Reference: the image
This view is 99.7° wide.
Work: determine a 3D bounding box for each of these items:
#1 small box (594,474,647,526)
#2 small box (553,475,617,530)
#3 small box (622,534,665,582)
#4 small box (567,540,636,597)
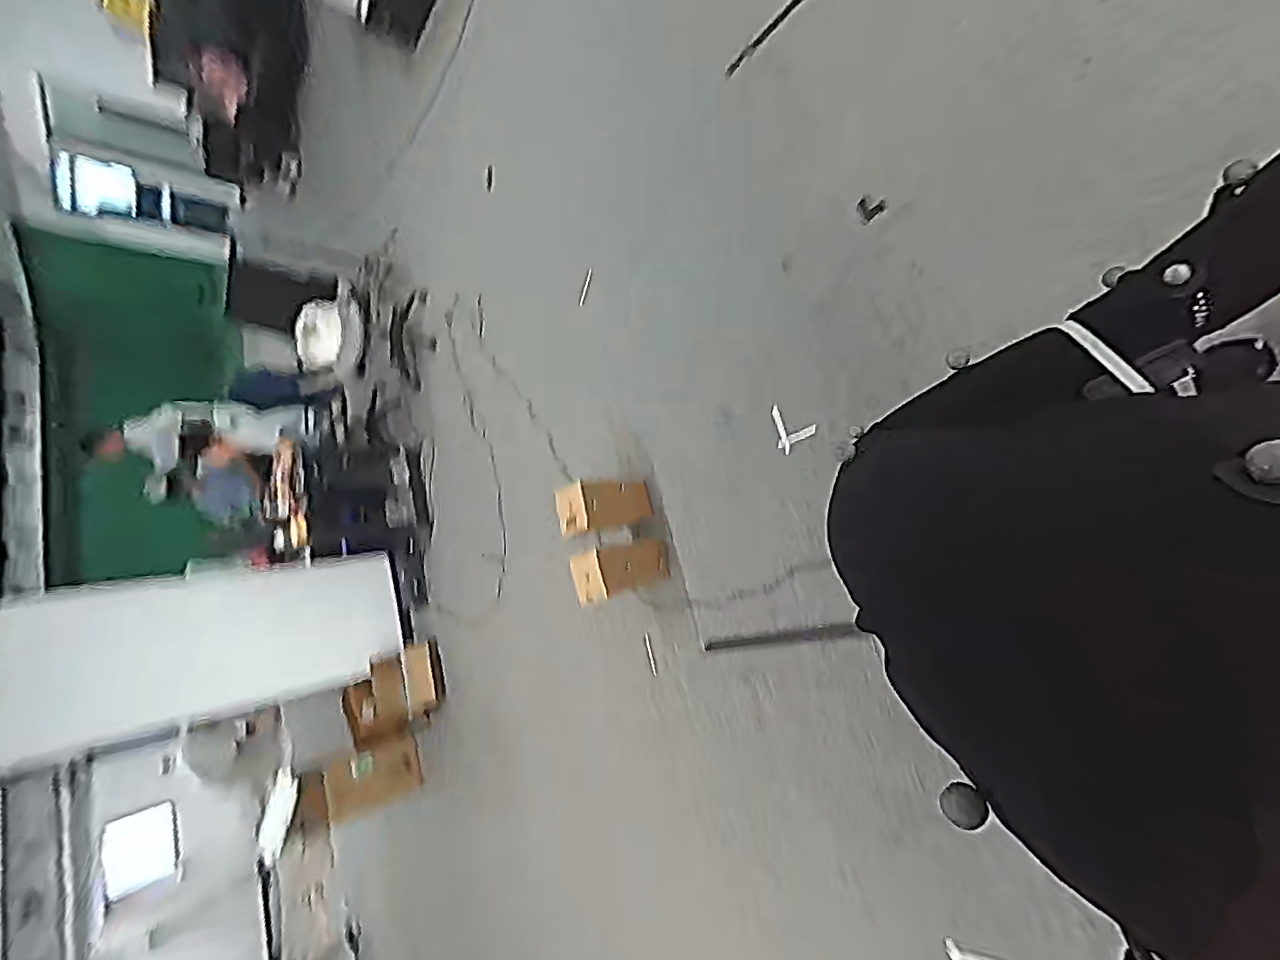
[{"bbox_3d":[-0.090,0.078,2.172,0.168,0.176,0.179,-21,76,45],"label":"small box"},{"bbox_3d":[-0.207,0.083,2.056,0.168,0.176,0.179,-22,75,44],"label":"small box"},{"bbox_3d":[-0.029,0.315,2.122,0.179,0.176,0.168,-23,77,43],"label":"small box"},{"bbox_3d":[-0.142,0.323,2.003,0.168,0.176,0.179,-25,75,44],"label":"small box"}]
